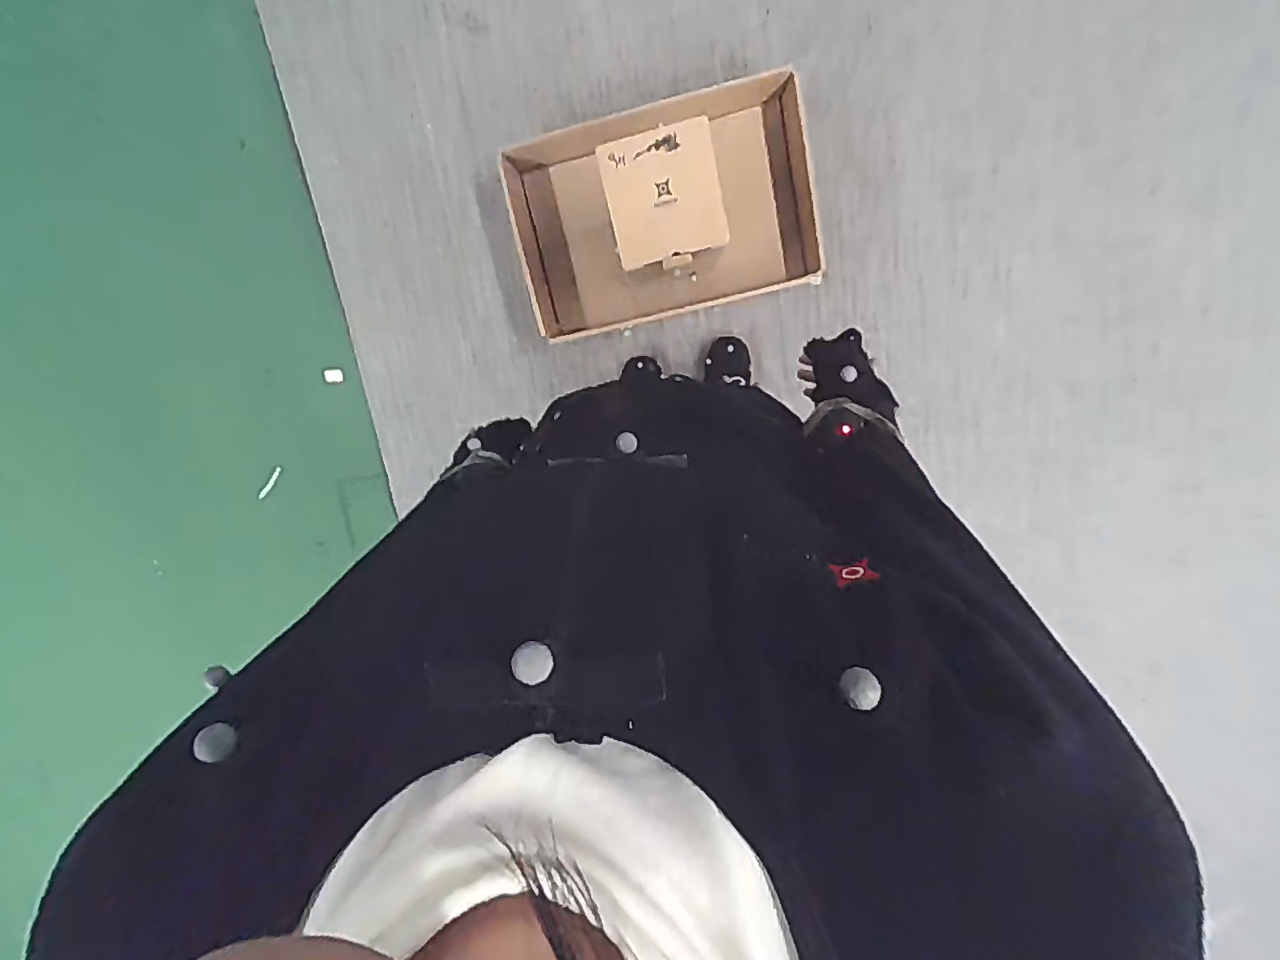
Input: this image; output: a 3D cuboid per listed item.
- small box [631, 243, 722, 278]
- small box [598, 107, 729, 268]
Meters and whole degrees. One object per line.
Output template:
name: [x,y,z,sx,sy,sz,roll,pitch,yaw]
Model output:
small box: [0.050,-0.484,1.004,0.168,0.176,0.179,-15,104,8]
small box: [0.042,-0.447,0.862,0.168,0.176,0.179,-12,105,6]
